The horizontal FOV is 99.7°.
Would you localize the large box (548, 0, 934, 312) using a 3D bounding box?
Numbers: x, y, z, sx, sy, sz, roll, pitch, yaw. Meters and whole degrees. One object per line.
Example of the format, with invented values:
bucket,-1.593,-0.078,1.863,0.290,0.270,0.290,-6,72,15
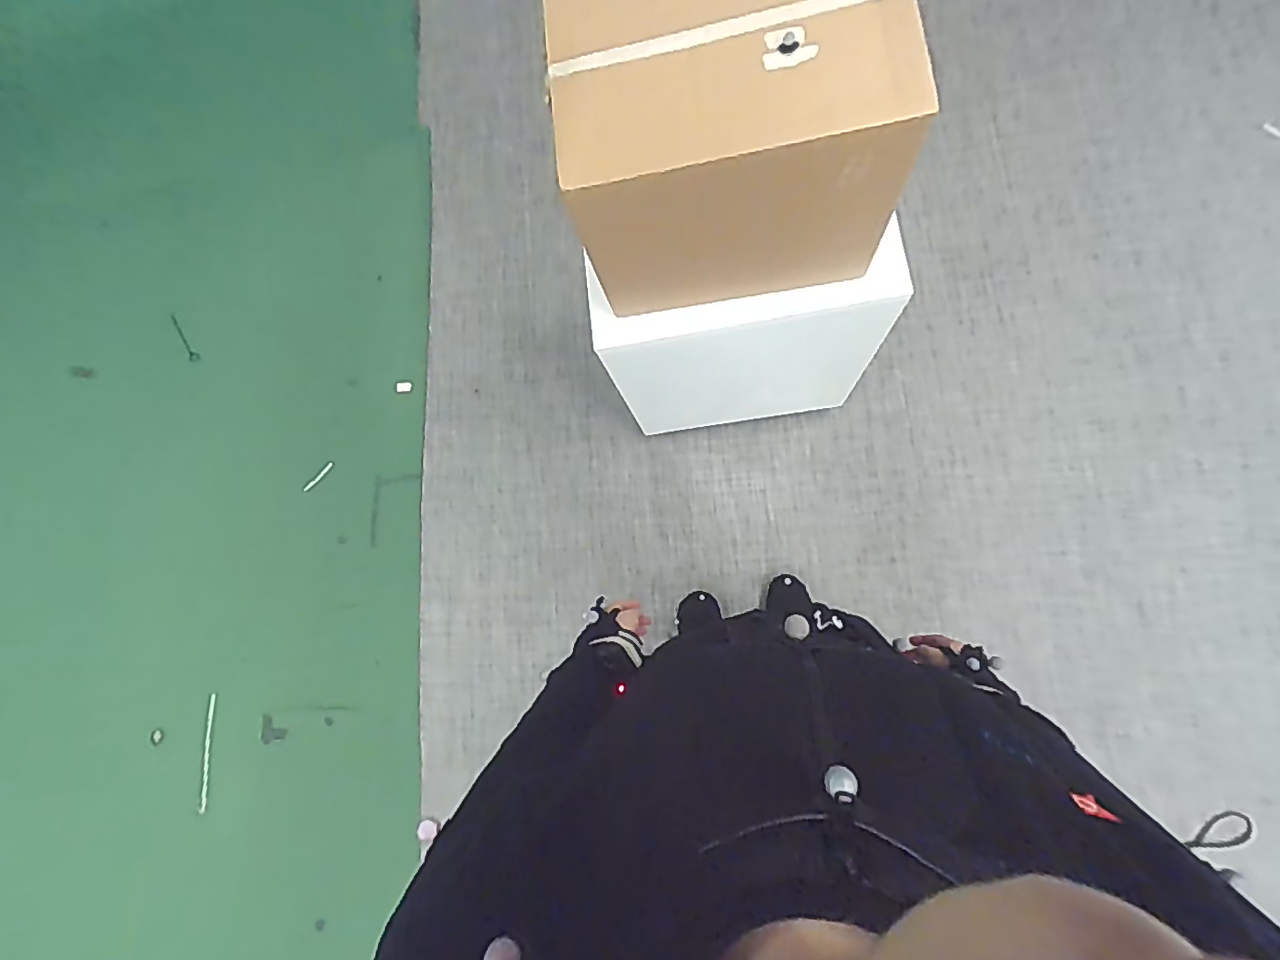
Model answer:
large box,0.116,-0.475,0.757,0.408,0.320,0.320,-7,79,7
